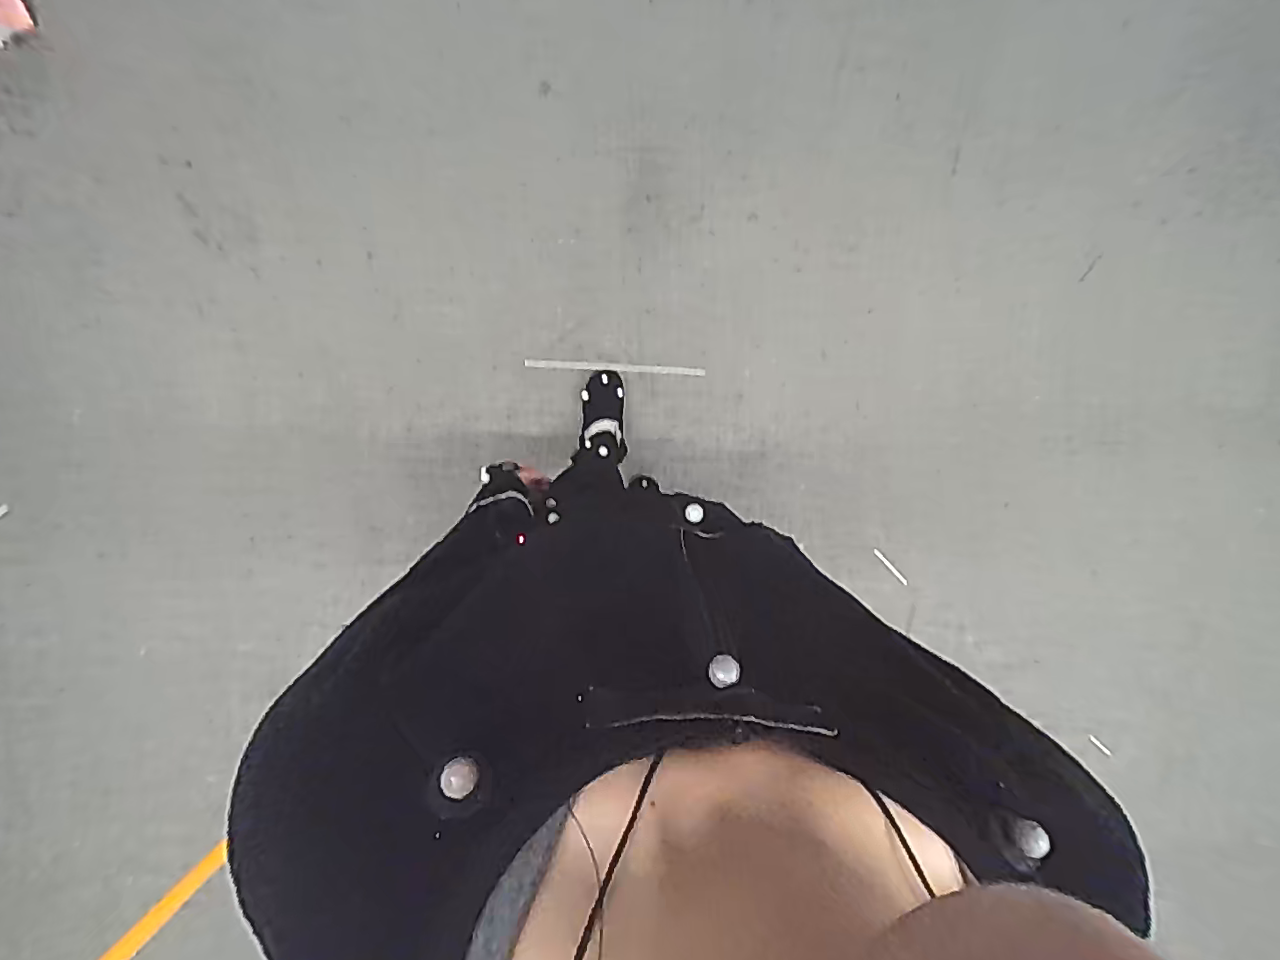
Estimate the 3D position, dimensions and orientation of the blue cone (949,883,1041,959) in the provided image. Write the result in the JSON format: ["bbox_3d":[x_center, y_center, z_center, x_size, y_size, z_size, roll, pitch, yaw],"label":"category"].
[{"bbox_3d":[1.054,1.334,1.468,0.193,0.380,0.192,-40,95,-3],"label":"blue cone"}]
